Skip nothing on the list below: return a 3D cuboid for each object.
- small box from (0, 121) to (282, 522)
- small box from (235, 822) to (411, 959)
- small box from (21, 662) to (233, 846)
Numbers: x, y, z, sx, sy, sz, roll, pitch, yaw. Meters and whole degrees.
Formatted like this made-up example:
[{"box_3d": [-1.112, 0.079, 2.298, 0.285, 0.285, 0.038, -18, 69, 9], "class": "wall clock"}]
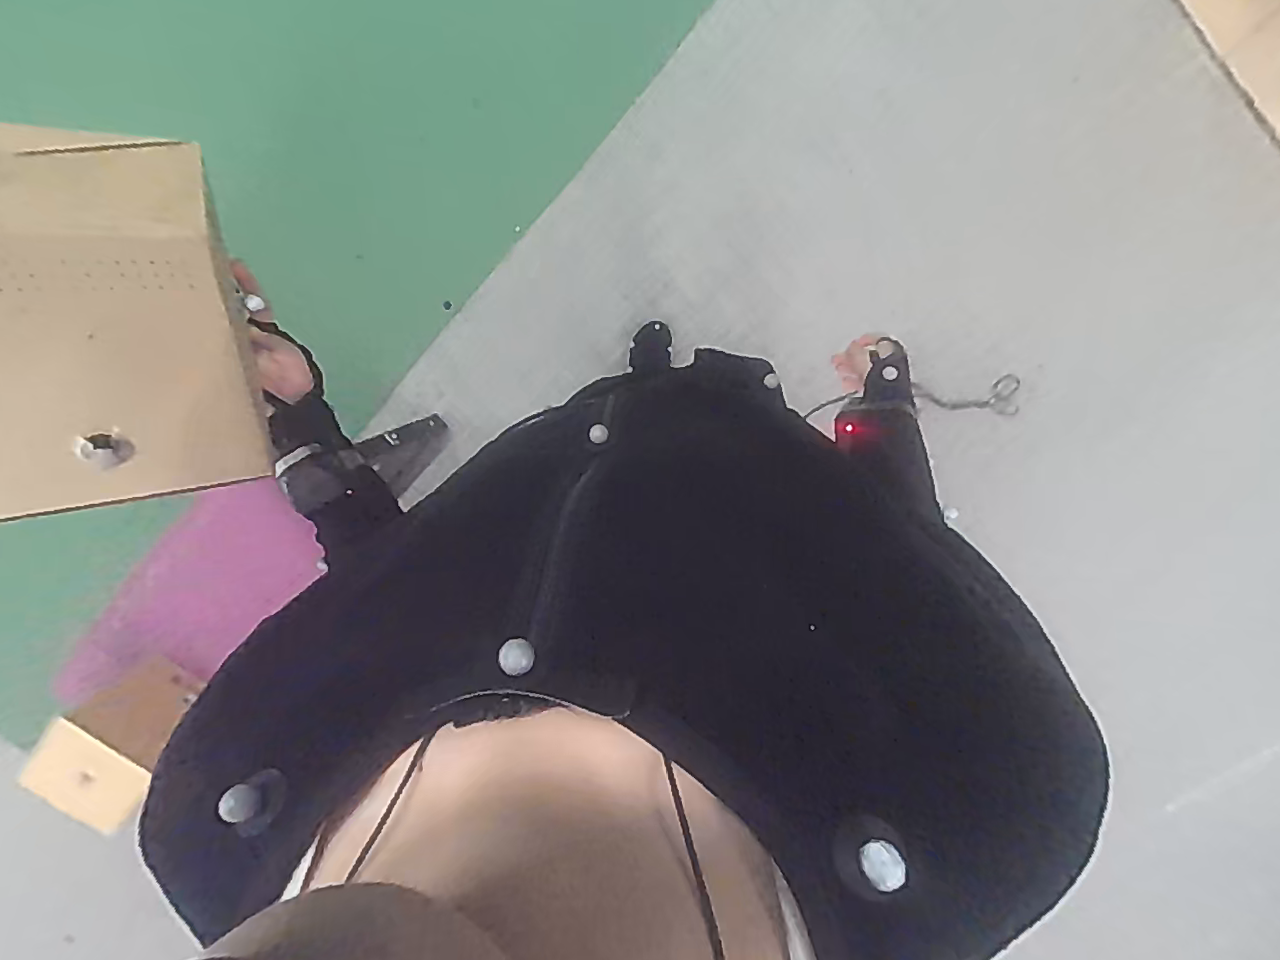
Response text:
[{"box_3d": [-0.341, -0.100, 0.322, 0.179, 0.168, 0.176, -12, 138, -31], "class": "small box"}, {"box_3d": [-0.551, 0.766, 0.967, 0.168, 0.176, 0.179, -43, 99, 13], "class": "small box"}, {"box_3d": [-0.839, 0.448, 0.904, 0.168, 0.176, 0.179, 40, 104, -8], "class": "small box"}]
